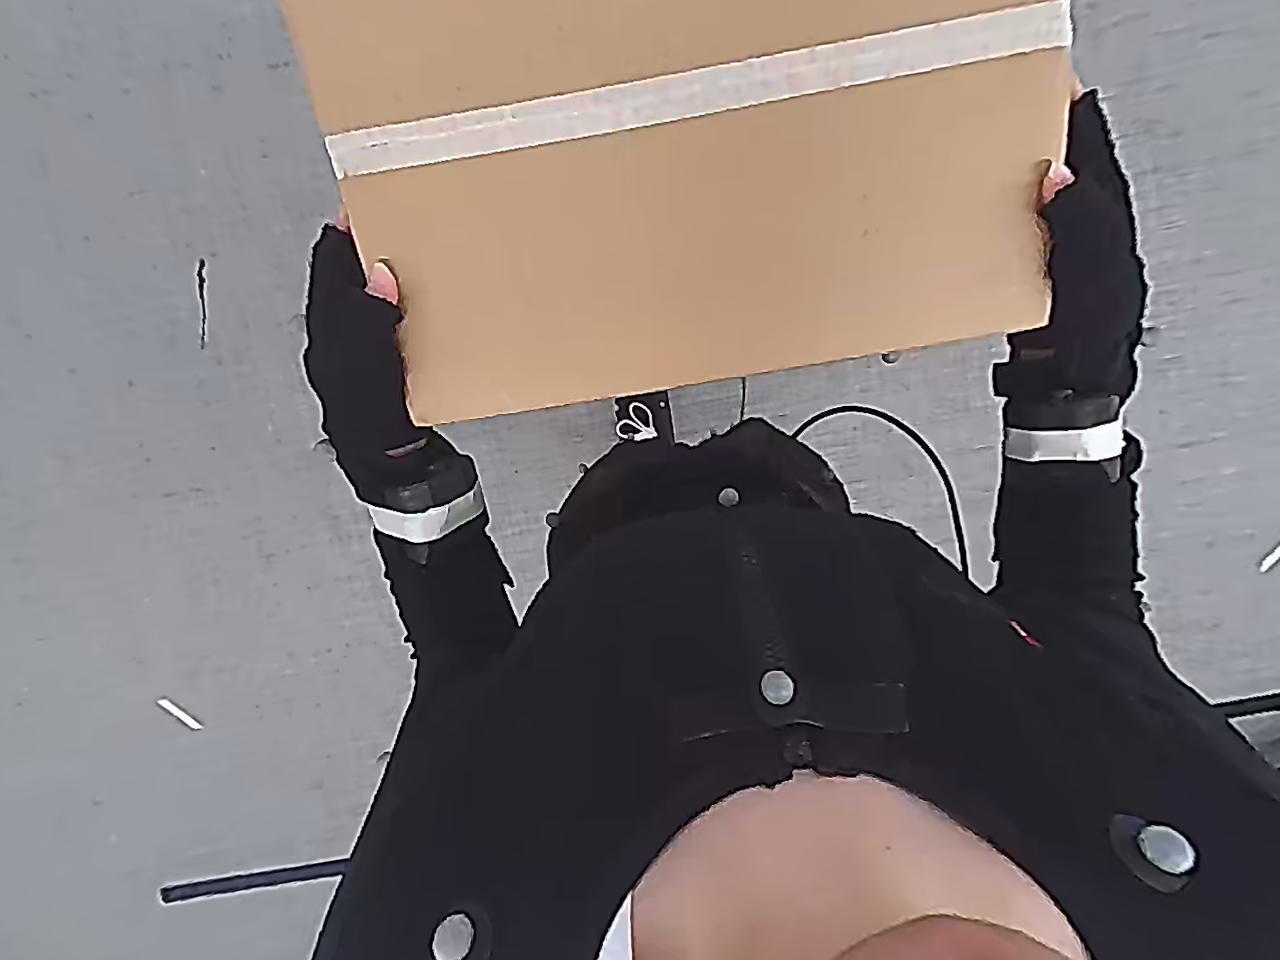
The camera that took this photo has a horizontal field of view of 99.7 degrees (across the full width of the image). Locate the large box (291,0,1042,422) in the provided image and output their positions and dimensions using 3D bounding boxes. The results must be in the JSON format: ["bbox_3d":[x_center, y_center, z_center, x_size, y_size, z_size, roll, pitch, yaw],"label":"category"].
[{"bbox_3d":[0.022,-0.262,0.445,0.408,0.320,0.320,-9,108,2],"label":"large box"}]
